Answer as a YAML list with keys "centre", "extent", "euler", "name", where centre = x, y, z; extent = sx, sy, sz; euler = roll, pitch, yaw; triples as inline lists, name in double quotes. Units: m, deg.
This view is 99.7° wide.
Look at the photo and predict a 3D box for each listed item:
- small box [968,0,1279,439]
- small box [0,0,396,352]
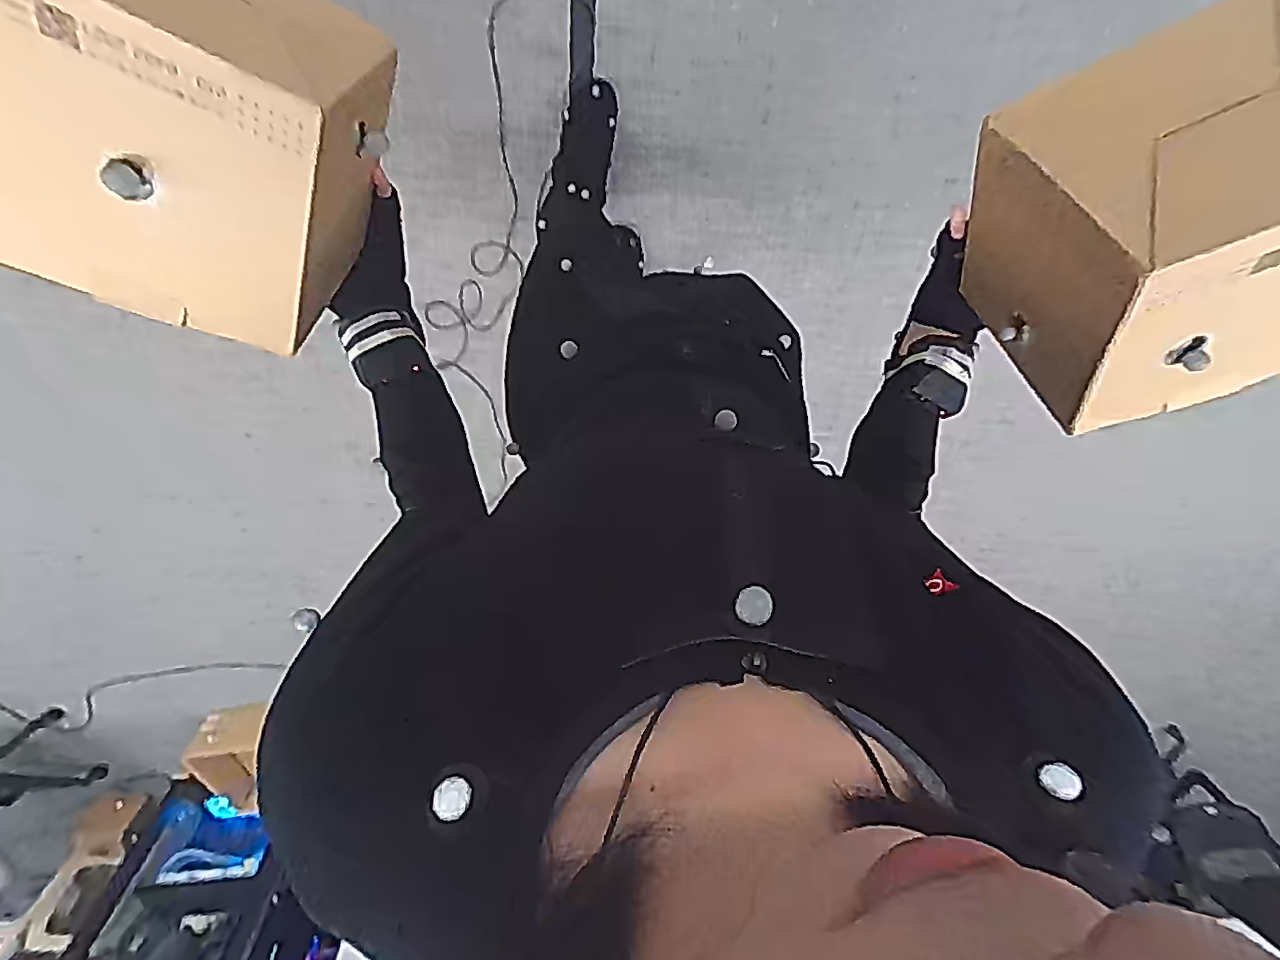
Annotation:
- centre: [0.347, -0.162, 0.353]
  extent: [0.168, 0.179, 0.176]
  euler: [-19, 146, 13]
  name: "small box"
- centre: [-0.268, -0.217, 0.334]
  extent: [0.168, 0.179, 0.176]
  euler: [18, 131, -22]
  name: "small box"
